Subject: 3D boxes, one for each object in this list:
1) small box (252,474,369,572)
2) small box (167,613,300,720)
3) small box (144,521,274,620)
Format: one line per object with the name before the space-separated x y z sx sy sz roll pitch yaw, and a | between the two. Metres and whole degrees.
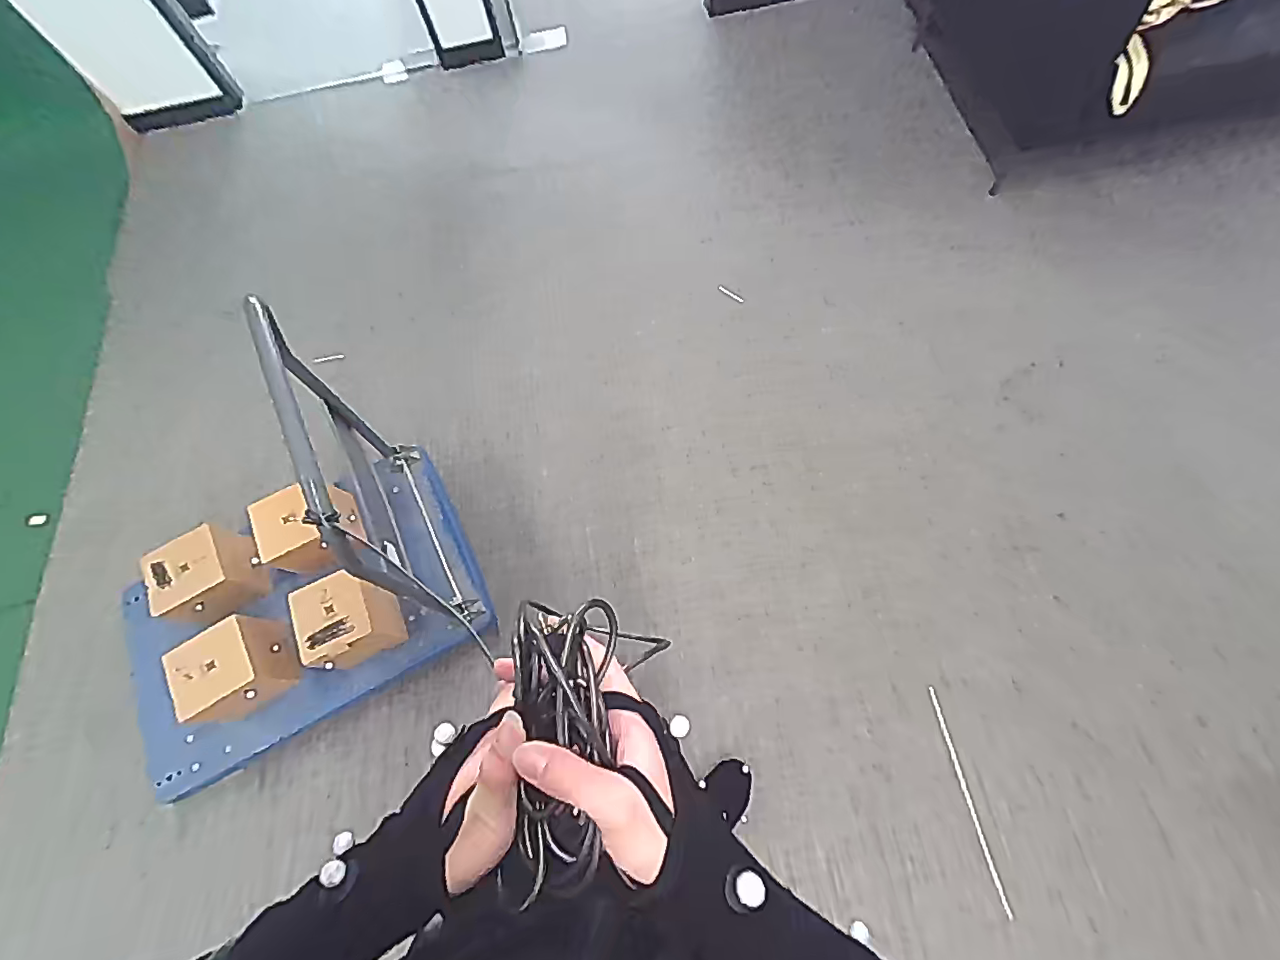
small box | -0.835 0.117 1.381 0.179 0.176 0.168 -27 69 -7
small box | -0.937 0.436 1.264 0.179 0.176 0.168 -32 69 -8
small box | -1.070 0.234 1.353 0.179 0.176 0.168 -30 70 -8
